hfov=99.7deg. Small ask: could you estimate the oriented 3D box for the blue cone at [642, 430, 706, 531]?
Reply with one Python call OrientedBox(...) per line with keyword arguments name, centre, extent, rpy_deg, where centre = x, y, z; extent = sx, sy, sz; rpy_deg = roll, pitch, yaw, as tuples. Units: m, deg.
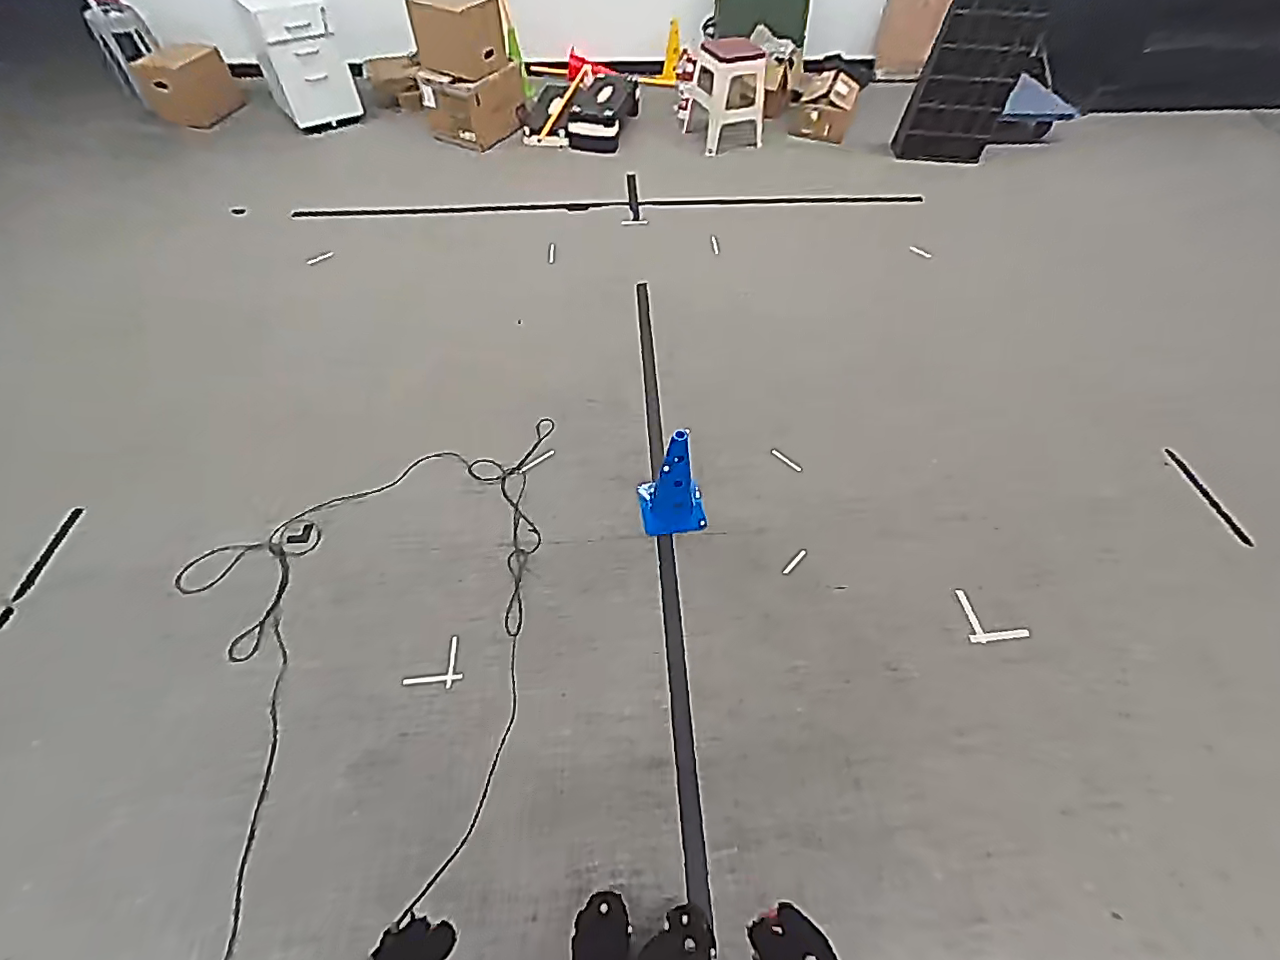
OrientedBox(name="blue cone", centre=(0.112, -0.013, 1.623), extent=(0.192, 0.380, 0.193), rpy_deg=(-4, 54, -6))
